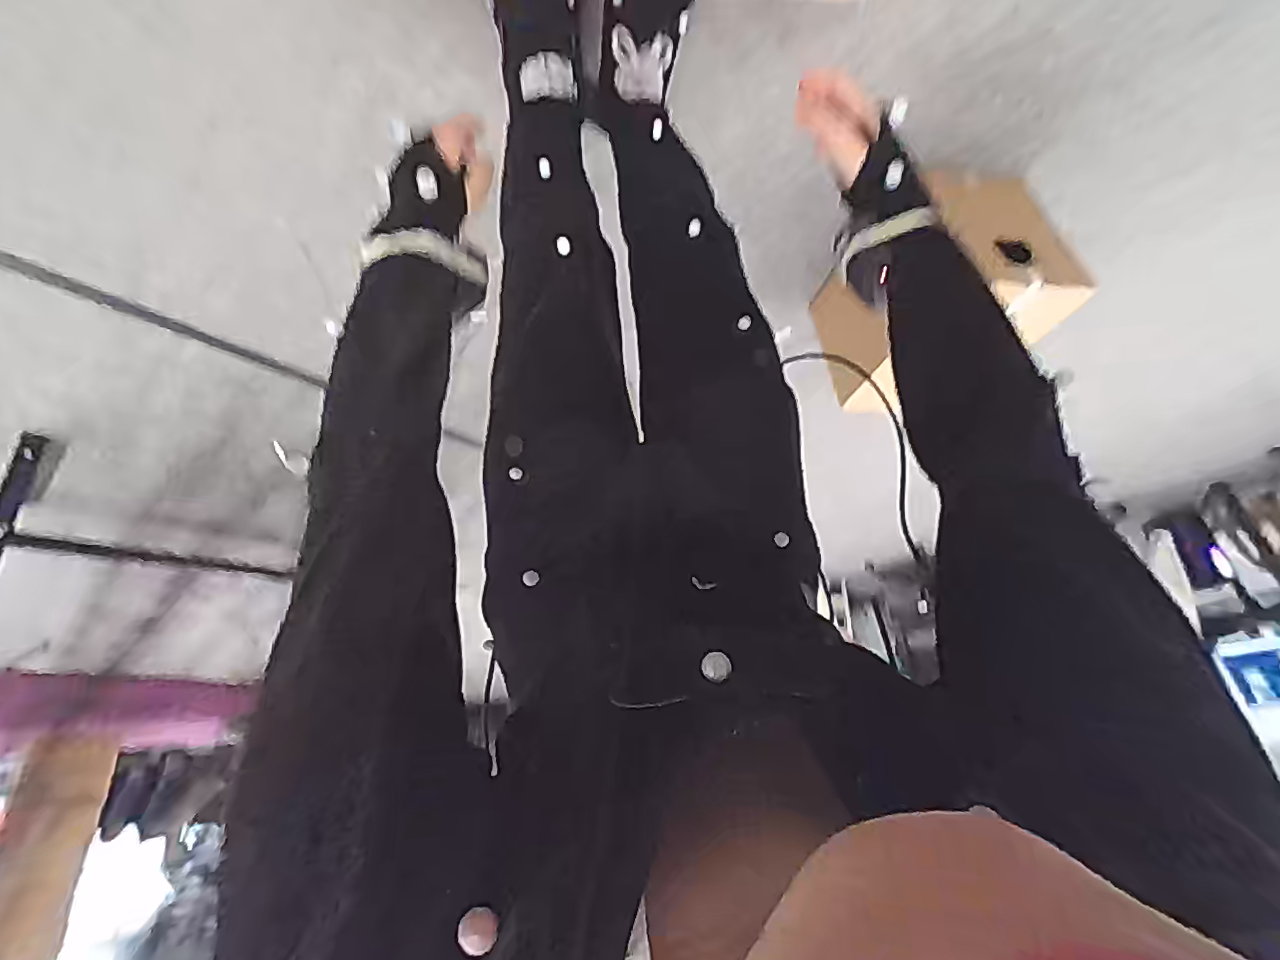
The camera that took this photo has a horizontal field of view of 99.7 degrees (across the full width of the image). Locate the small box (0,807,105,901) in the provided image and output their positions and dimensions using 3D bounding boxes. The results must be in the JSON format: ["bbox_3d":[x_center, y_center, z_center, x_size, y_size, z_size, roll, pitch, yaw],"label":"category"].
[{"bbox_3d":[-1.482,0.923,1.339,0.168,0.176,0.179,-28,147,35],"label":"small box"}]

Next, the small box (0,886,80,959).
[{"bbox_3d":[-1.466,1.071,1.271,0.168,0.176,0.179,-28,148,35],"label":"small box"}]

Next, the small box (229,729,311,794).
[{"bbox_3d":[-1.205,0.917,1.770,0.179,0.176,0.168,-25,149,31],"label":"small box"}]

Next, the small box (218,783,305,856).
[{"bbox_3d":[-1.176,1.055,1.690,0.179,0.176,0.168,-27,149,31],"label":"small box"}]
